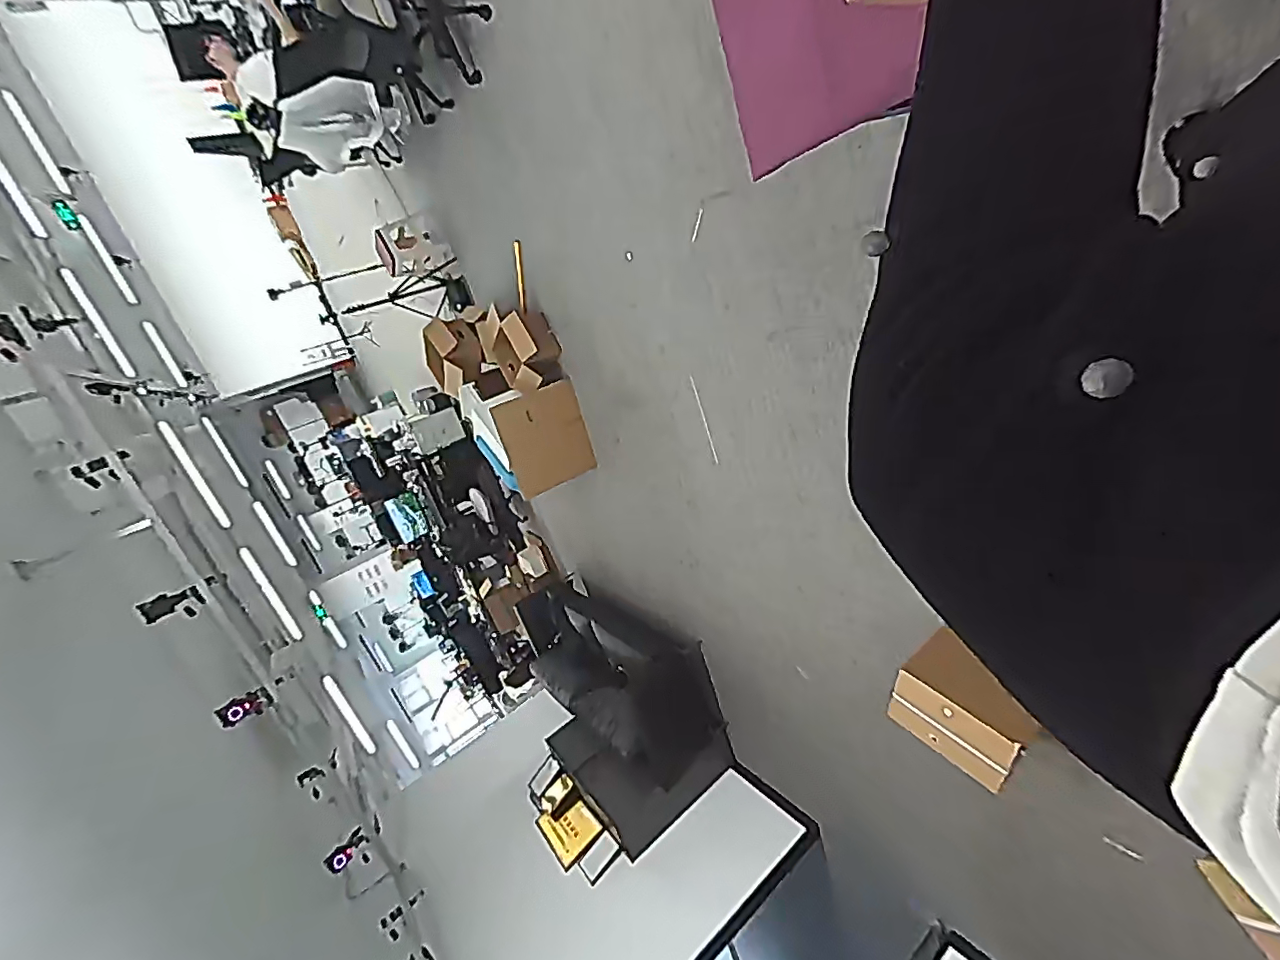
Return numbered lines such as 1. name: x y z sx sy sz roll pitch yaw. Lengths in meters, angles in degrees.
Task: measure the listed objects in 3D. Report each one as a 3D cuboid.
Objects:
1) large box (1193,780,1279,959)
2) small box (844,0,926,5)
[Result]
1. large box: 1.698 0.966 1.285 0.320 0.320 0.408 56 151 9
2. small box: 0.335 -0.677 0.604 0.179 0.176 0.168 6 119 57
